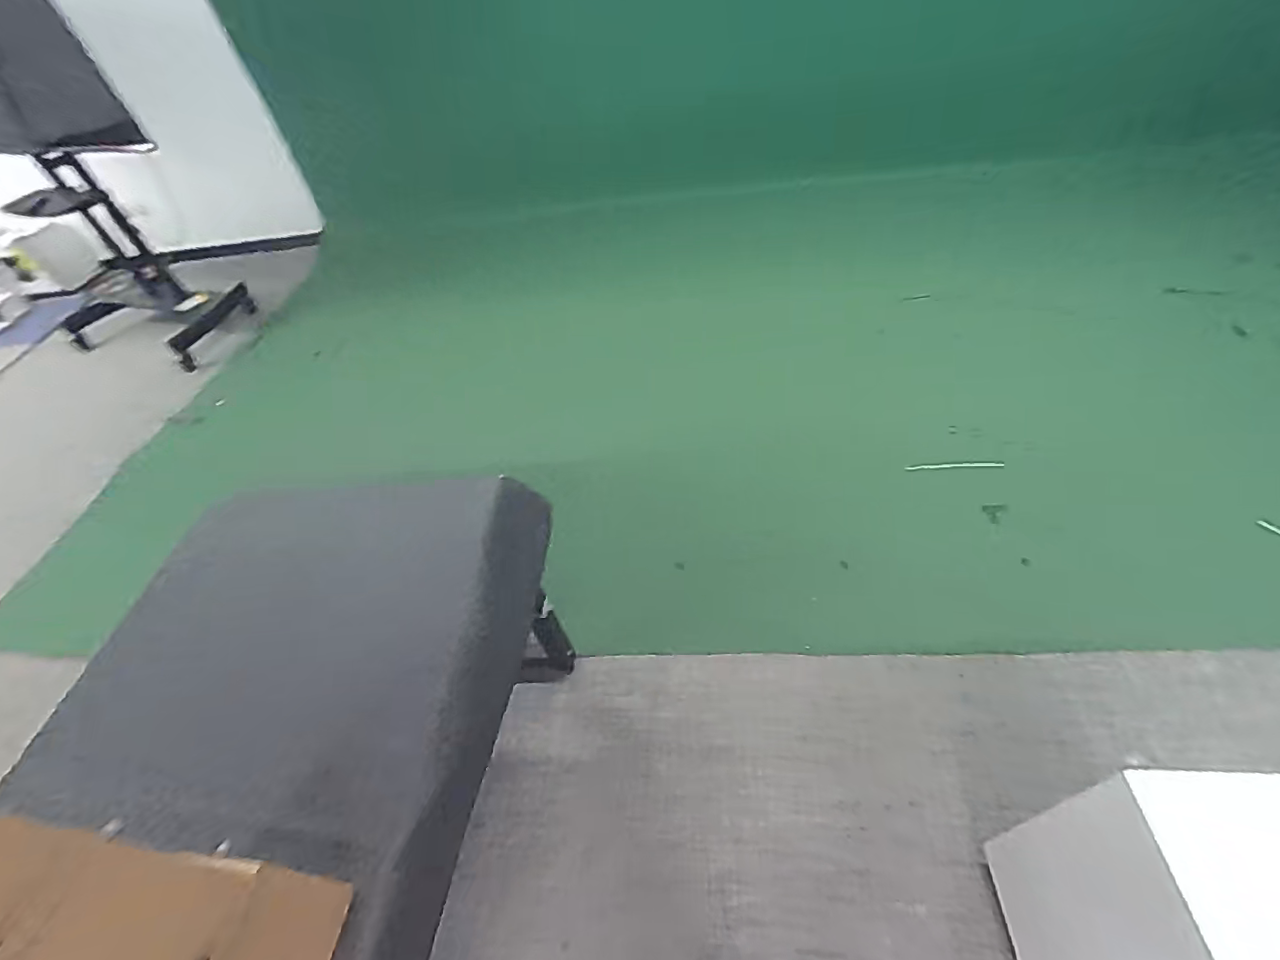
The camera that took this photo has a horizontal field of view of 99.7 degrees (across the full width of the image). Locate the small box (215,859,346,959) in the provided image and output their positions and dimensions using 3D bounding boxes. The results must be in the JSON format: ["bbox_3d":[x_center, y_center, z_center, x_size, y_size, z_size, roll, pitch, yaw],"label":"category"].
[{"bbox_3d":[-0.420,0.468,0.509,0.168,0.176,0.179,-2,48,10],"label":"small box"}]

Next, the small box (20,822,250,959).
[{"bbox_3d":[-0.450,0.357,0.391,0.179,0.176,0.168,-3,47,11],"label":"small box"}]
